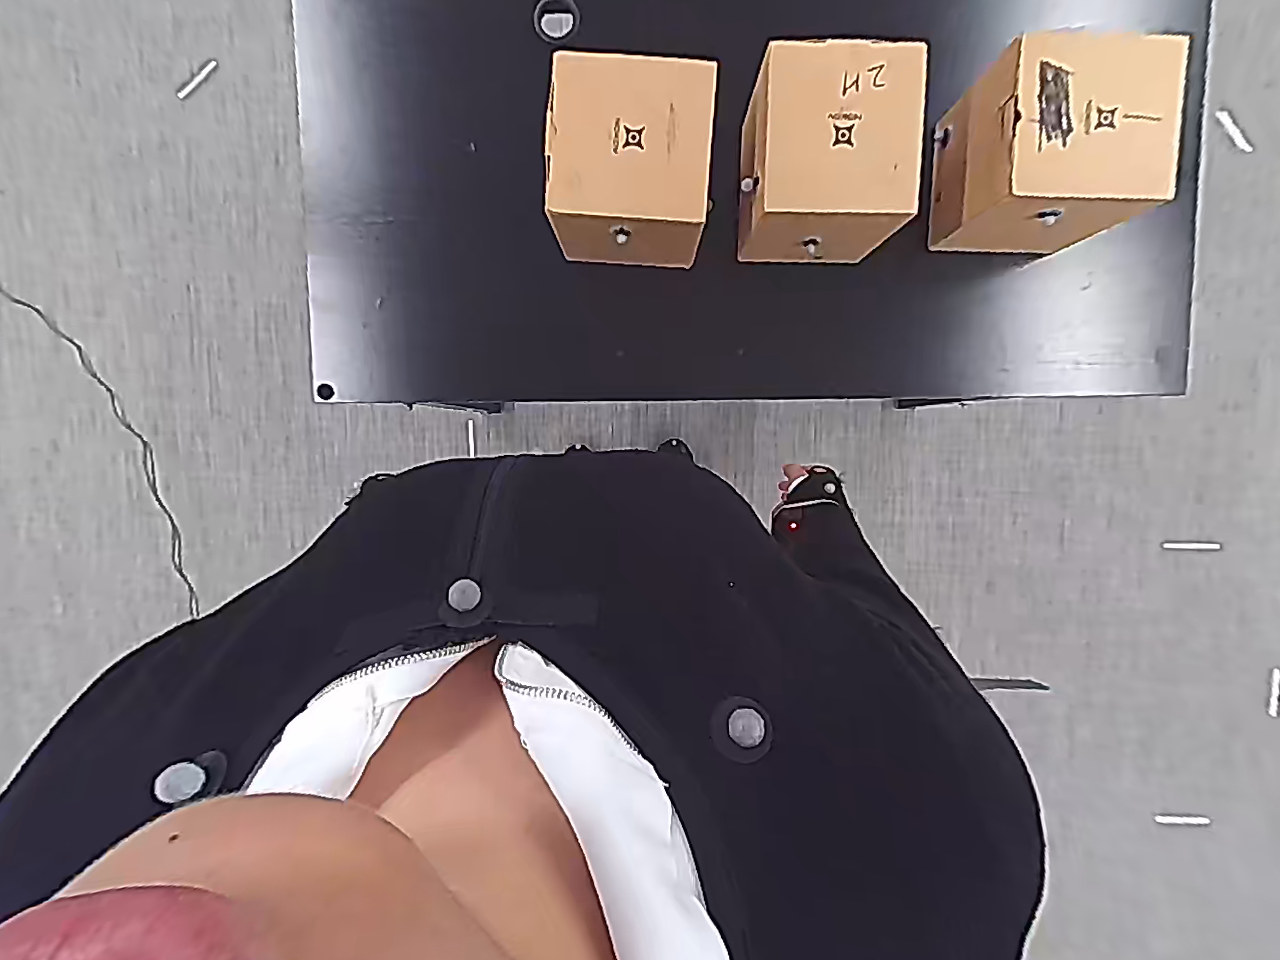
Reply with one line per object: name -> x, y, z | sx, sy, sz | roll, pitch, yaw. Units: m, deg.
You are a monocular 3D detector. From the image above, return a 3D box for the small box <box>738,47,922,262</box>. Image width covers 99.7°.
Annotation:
small box -> 0.217, -0.379, 0.661 | 0.168, 0.176, 0.179 | 2, 94, 0

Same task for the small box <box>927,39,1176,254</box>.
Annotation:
small box -> 0.478, -0.387, 0.657 | 0.179, 0.176, 0.168 | 2, 94, 0
